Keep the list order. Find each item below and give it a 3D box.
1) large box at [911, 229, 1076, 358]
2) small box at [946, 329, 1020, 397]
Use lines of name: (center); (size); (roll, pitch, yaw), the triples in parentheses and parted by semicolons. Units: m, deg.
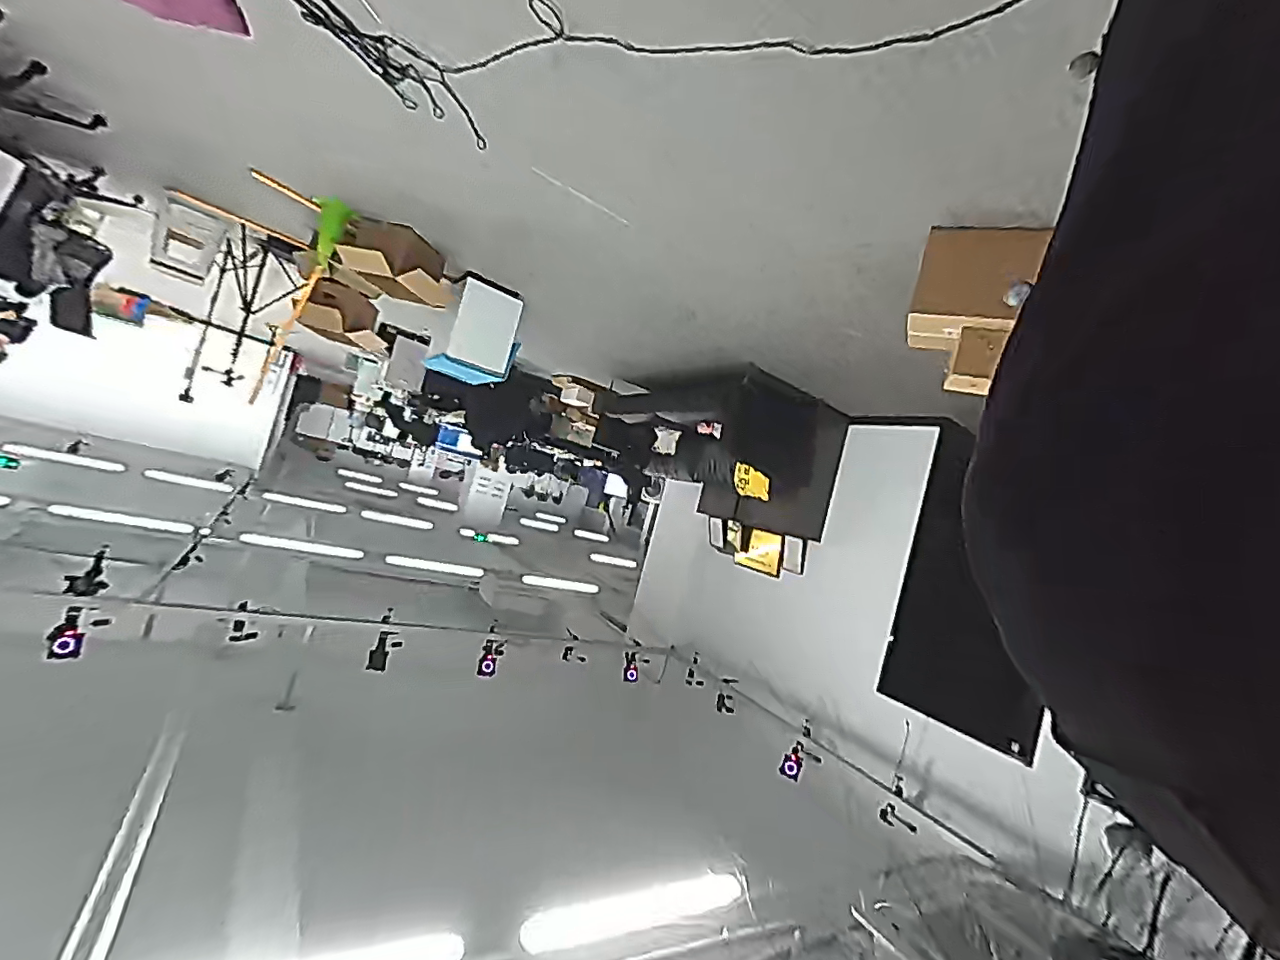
large box: (1.196, -0.644, 1.872); (0.408, 0.320, 0.320); (16, 178, 27)
small box: (1.173, -0.399, 1.852); (0.168, 0.176, 0.179); (15, 179, 23)
